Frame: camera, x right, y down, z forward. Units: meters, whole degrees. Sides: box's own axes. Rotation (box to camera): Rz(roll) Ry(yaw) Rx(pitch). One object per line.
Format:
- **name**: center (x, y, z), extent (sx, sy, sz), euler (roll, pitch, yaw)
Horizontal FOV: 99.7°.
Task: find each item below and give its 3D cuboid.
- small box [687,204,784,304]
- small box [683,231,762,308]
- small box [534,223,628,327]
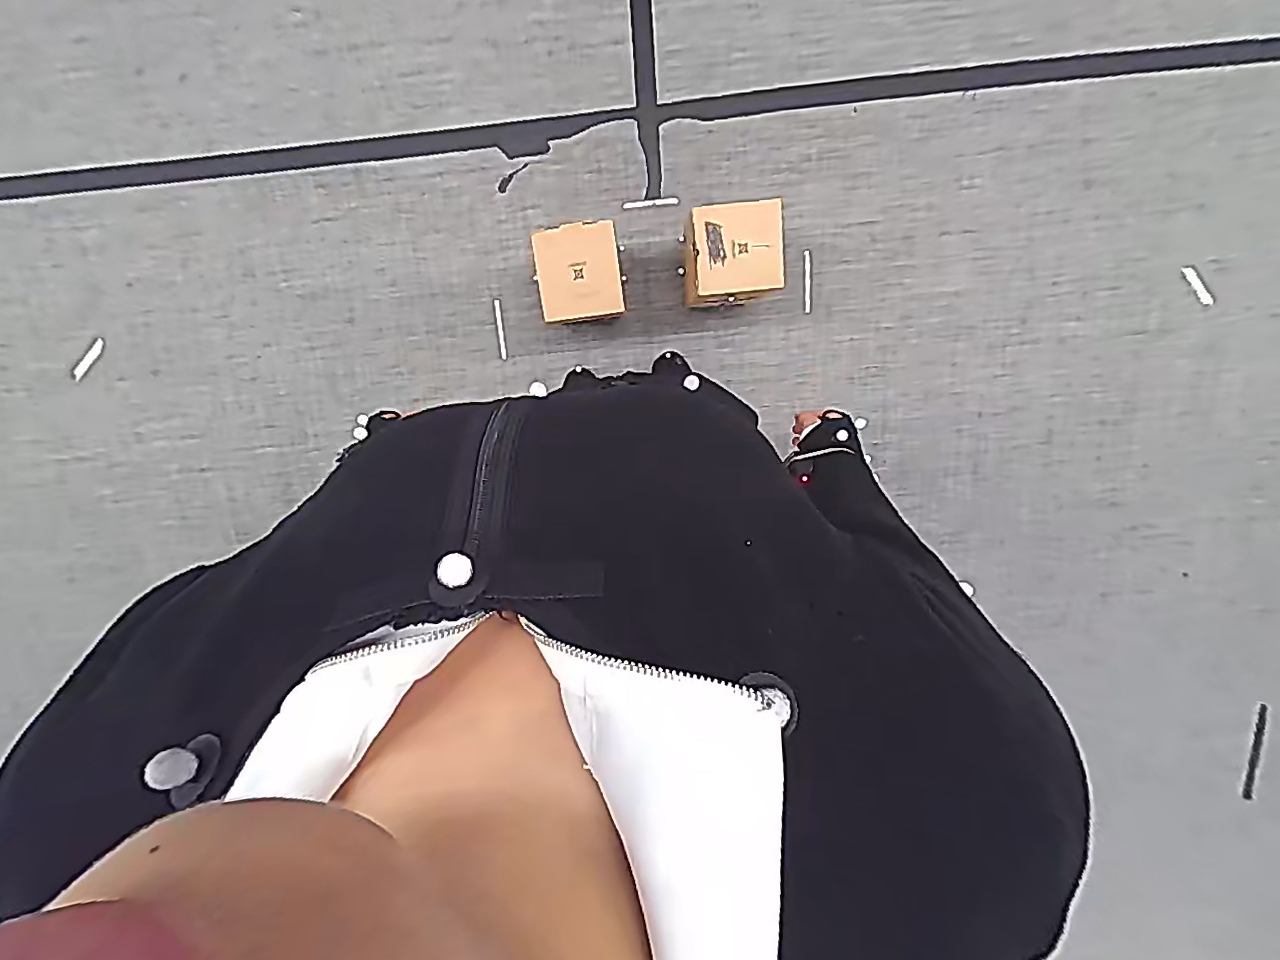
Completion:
- **small box**: center (0.193, -0.468, 1.141), extent (0.179, 0.176, 0.168), euler (-5, 104, -1)
- **small box**: center (0.195, -0.508, 1.301), extent (0.168, 0.176, 0.179), euler (-4, 105, -1)
- **small box**: center (-0.118, -0.426, 1.148), extent (0.168, 0.176, 0.179), euler (-7, 105, 3)
